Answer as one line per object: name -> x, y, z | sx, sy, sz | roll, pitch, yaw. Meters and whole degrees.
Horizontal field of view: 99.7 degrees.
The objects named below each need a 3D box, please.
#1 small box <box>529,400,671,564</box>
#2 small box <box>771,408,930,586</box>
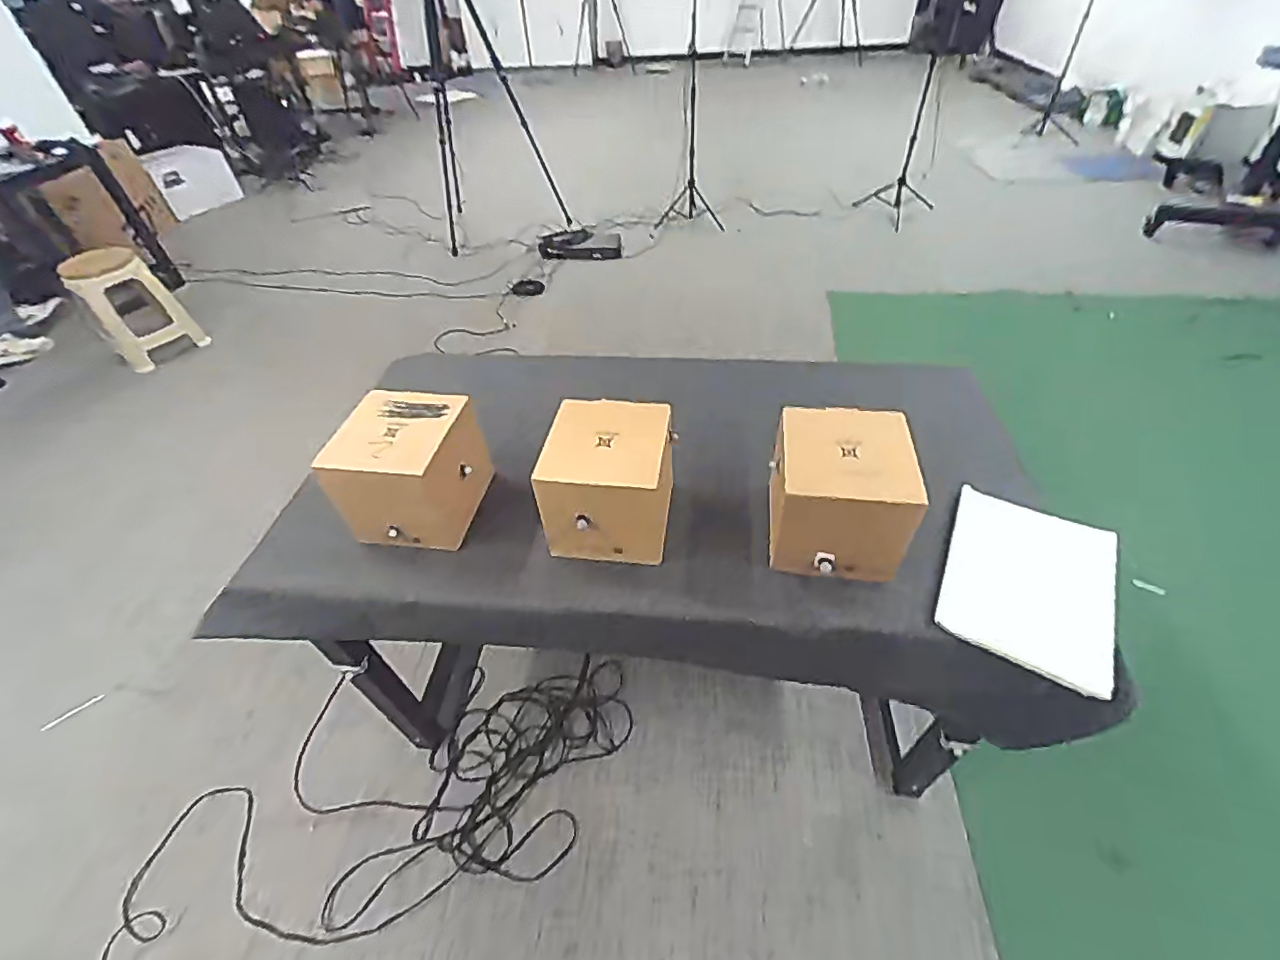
small box -> -0.045, 0.004, 0.789 | 0.168, 0.176, 0.179 | 4, 45, 8
small box -> 0.274, 0.022, 0.750 | 0.168, 0.176, 0.179 | 4, 47, 9
